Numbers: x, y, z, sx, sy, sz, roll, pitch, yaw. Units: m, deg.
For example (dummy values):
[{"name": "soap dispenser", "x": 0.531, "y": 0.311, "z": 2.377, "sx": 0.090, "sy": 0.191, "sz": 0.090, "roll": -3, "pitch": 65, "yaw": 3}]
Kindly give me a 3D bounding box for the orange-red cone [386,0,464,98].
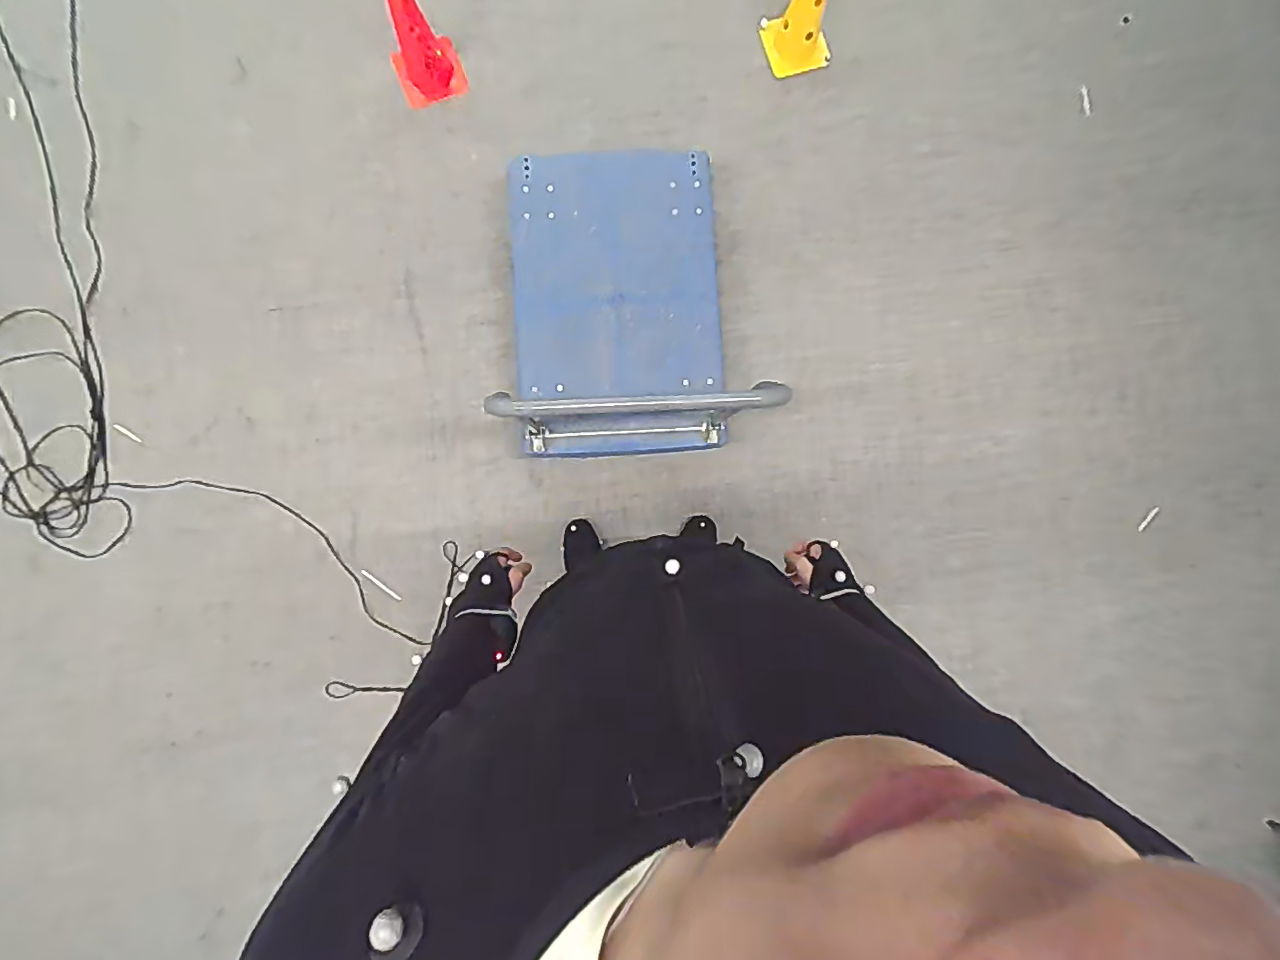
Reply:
[{"name": "orange-red cone", "x": -0.667, "y": -1.325, "z": 1.532, "sx": 0.199, "sy": 0.360, "sz": 0.198, "roll": -21, "pitch": 87, "yaw": -2}]
